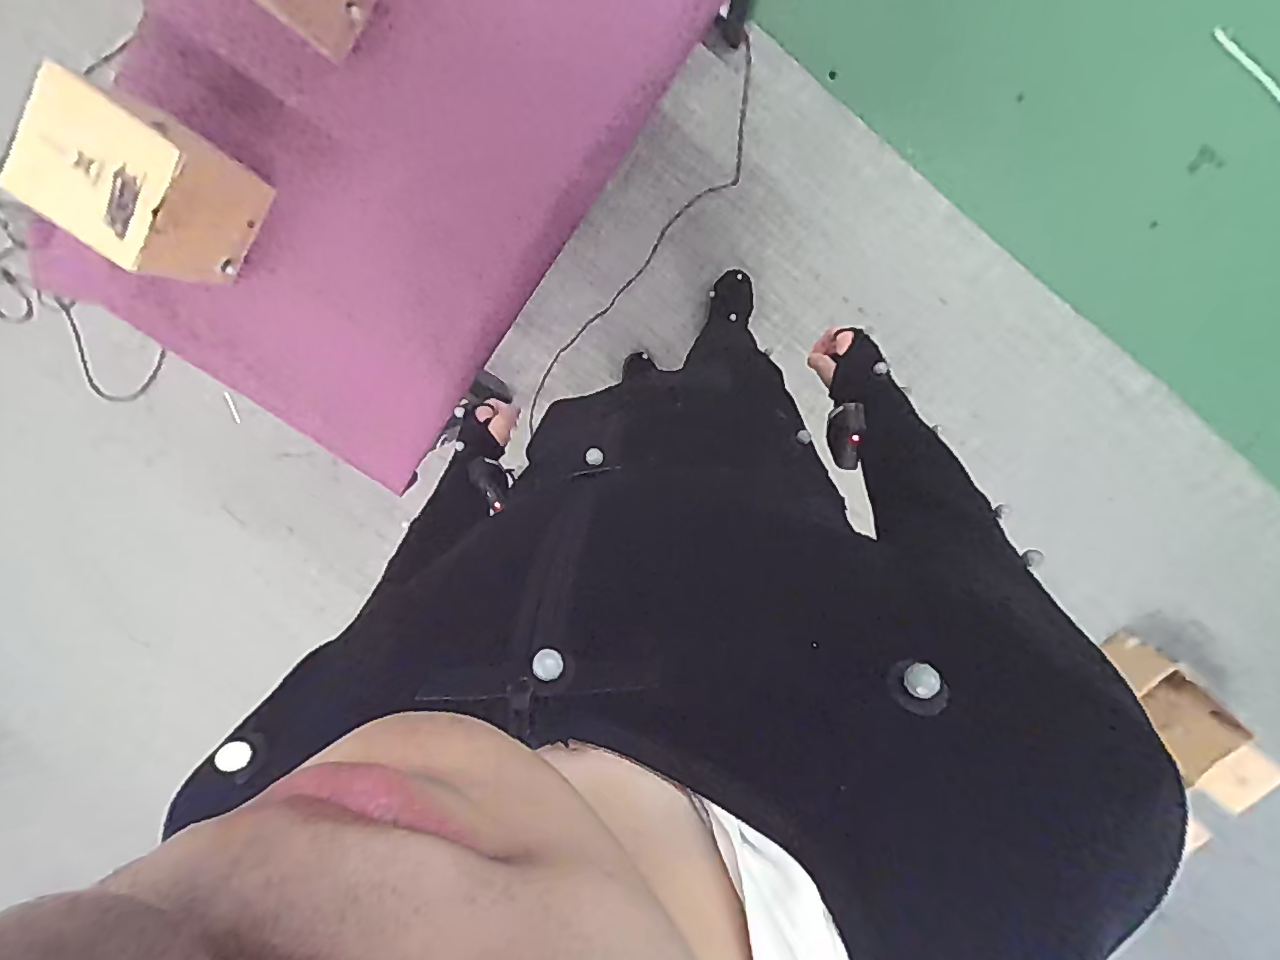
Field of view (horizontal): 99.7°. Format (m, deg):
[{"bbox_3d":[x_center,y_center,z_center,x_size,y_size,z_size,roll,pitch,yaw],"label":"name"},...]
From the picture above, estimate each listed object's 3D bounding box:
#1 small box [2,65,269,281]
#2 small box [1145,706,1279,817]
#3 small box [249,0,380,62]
[{"bbox_3d":[-0.654,-0.387,0.725,0.179,0.176,0.168,35,102,-6],"label":"small box"},{"bbox_3d":[1.562,0.758,1.473,0.179,0.176,0.168,37,102,-7],"label":"small box"},{"bbox_3d":[-0.441,-0.665,0.653,0.179,0.176,0.168,36,103,-8],"label":"small box"}]
